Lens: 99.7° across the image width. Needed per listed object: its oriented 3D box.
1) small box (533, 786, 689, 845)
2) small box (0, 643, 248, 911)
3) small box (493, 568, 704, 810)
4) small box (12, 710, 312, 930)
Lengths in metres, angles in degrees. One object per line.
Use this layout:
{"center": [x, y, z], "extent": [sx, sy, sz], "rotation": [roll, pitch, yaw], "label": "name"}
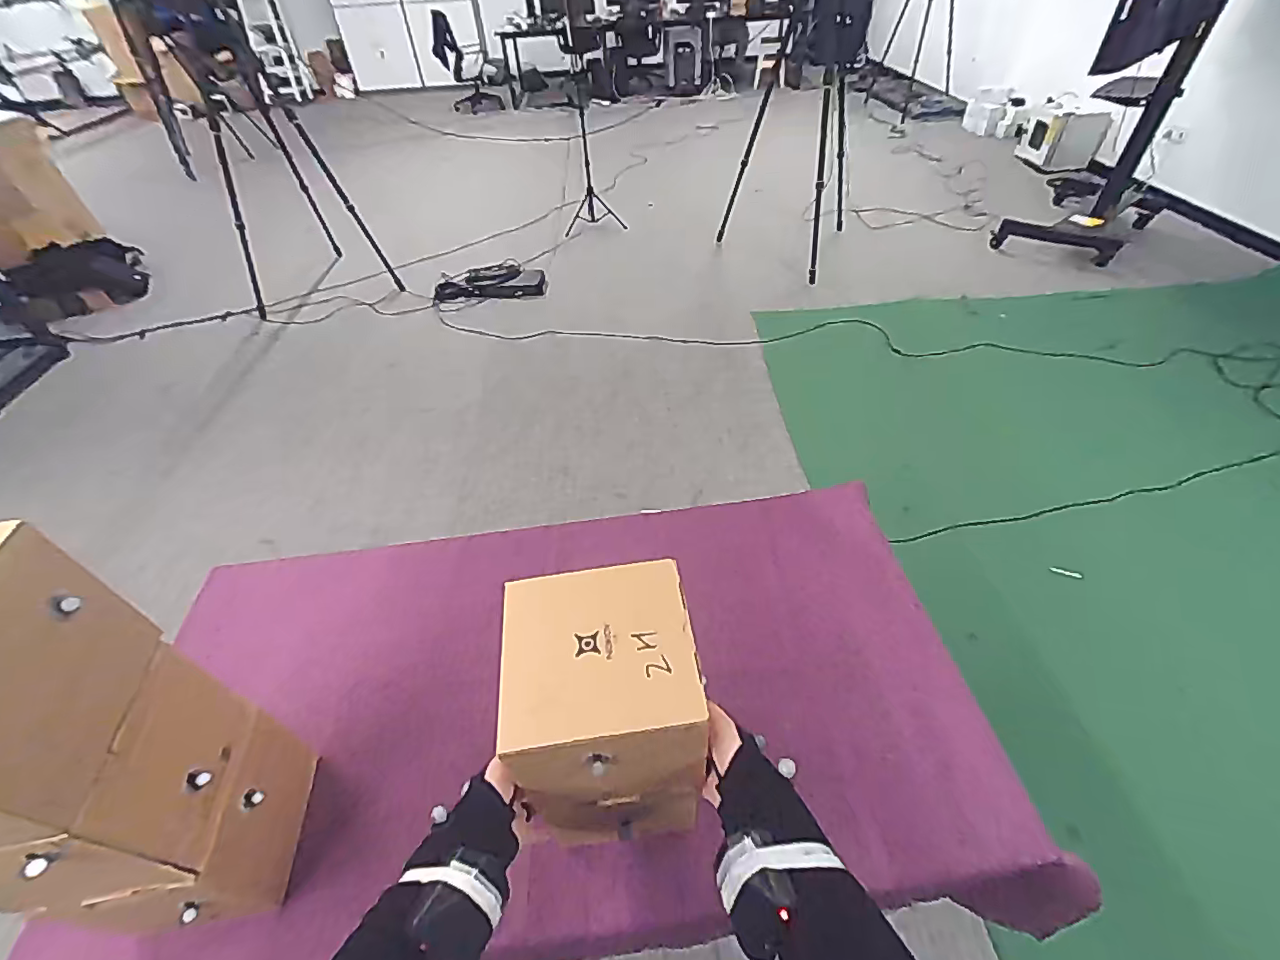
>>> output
{"center": [-0.032, 0.329, 0.664], "extent": [0.168, 0.176, 0.179], "rotation": [-6, 46, -3], "label": "small box"}
{"center": [-0.527, 0.281, 0.511], "extent": [0.179, 0.176, 0.168], "rotation": [-8, 45, -7], "label": "small box"}
{"center": [-0.037, 0.213, 0.546], "extent": [0.179, 0.176, 0.168], "rotation": [-7, 45, -3], "label": "small box"}
{"center": [-0.516, 0.395, 0.625], "extent": [0.168, 0.176, 0.179], "rotation": [-7, 44, -5], "label": "small box"}
